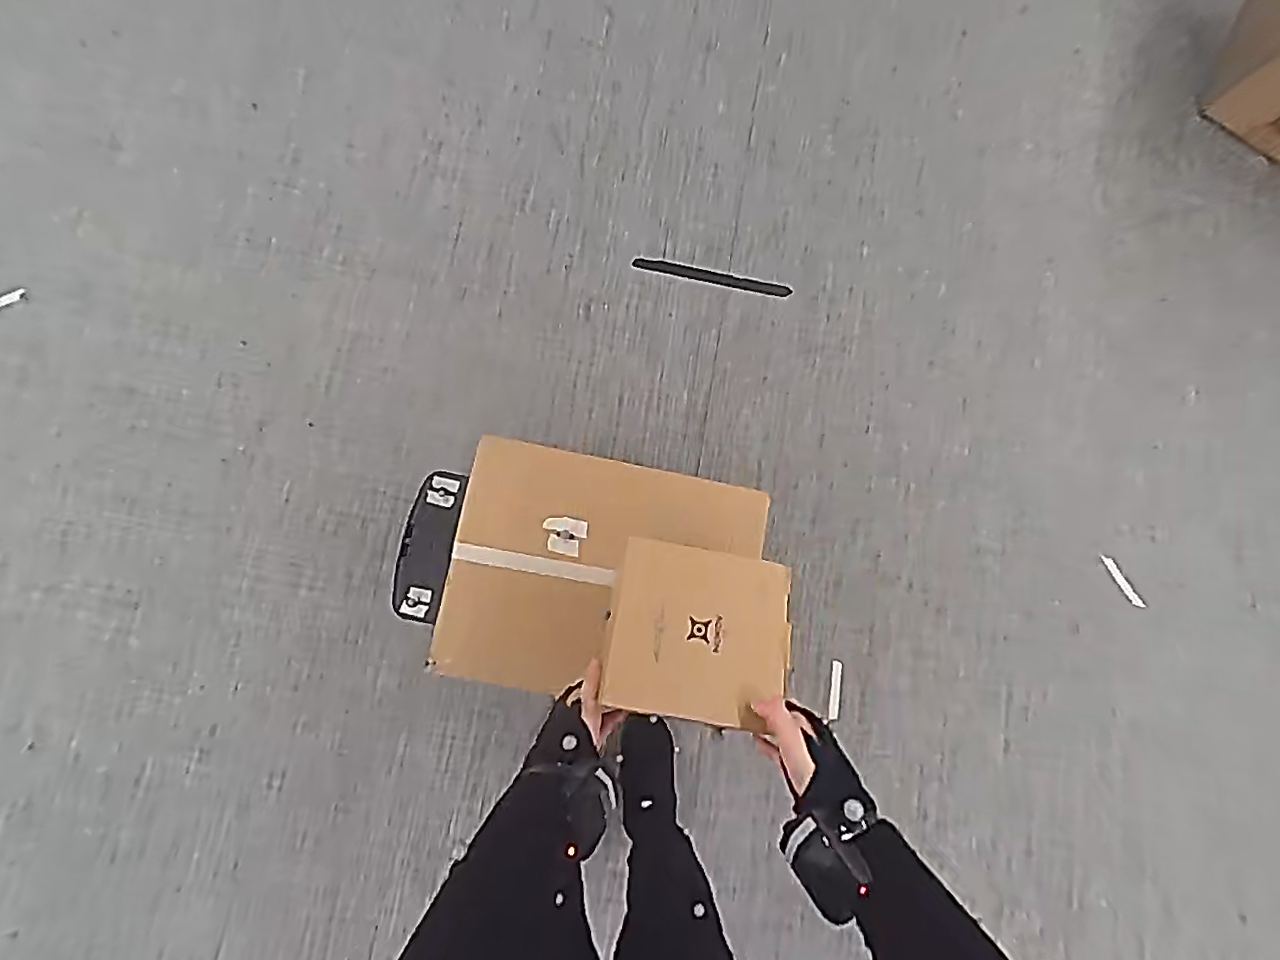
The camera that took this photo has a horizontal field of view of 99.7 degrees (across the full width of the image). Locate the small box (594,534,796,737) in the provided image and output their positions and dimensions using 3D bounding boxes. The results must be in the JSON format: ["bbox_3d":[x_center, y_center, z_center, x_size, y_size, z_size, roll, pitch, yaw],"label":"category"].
[{"bbox_3d":[0.052,0.173,0.594,0.179,0.176,0.168,11,67,-3],"label":"small box"}]

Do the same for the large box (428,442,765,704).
[{"bbox_3d":[-0.056,0.151,0.851,0.408,0.320,0.320,11,80,-3],"label":"large box"}]
